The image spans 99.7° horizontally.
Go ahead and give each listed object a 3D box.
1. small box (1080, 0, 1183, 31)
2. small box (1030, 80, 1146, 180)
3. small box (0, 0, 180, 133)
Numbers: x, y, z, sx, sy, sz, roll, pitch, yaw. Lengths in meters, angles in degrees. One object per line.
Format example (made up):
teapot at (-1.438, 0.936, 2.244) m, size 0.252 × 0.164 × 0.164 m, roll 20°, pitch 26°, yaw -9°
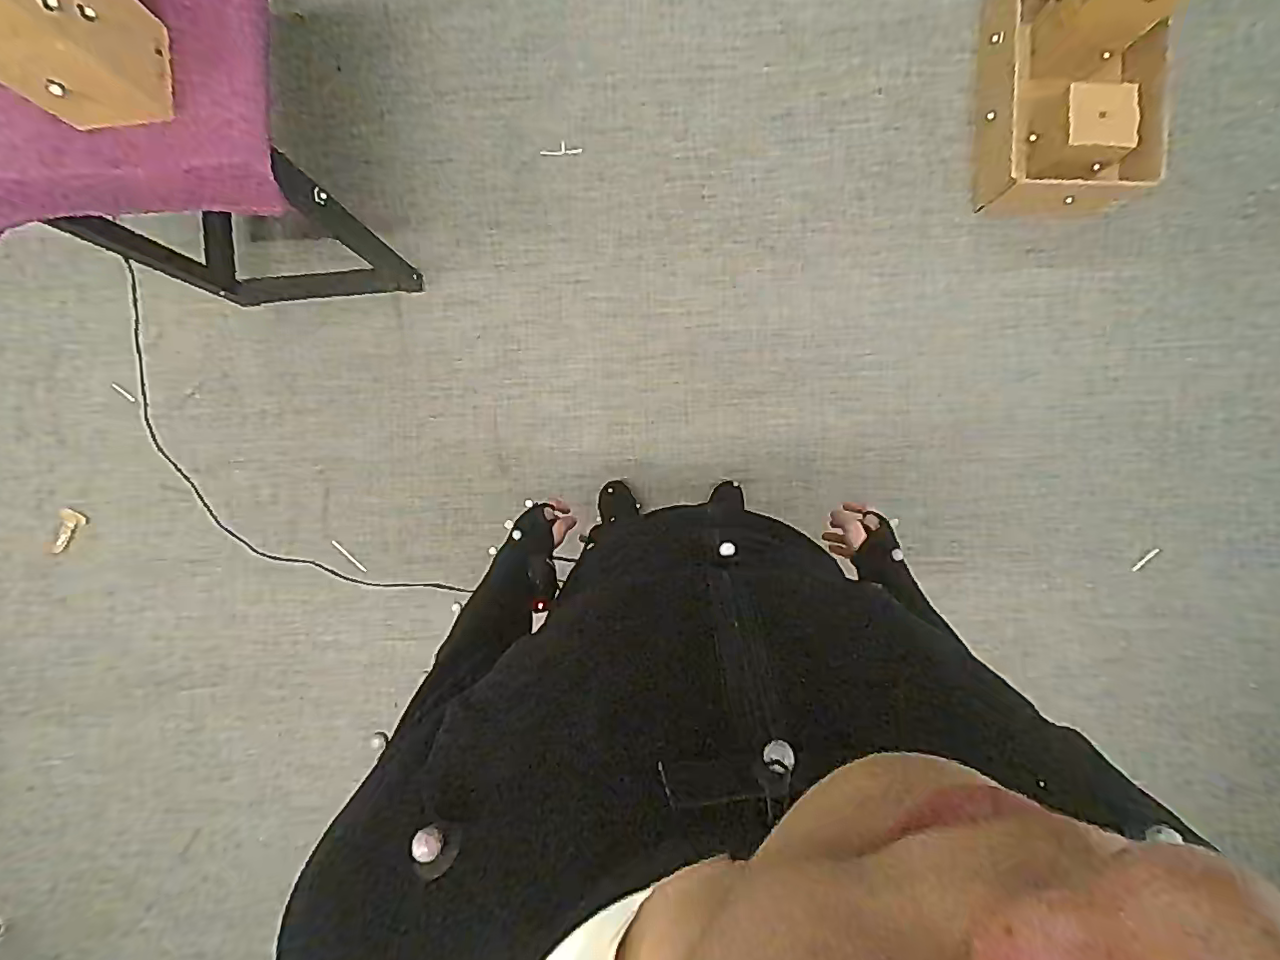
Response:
small box at (1.210, -1.219, 1.291) m, size 0.179 × 0.176 × 0.168 m, roll 2°, pitch 91°, yaw 1°
small box at (1.200, -0.934, 1.455) m, size 0.179 × 0.176 × 0.168 m, roll 2°, pitch 89°, yaw 3°
small box at (-0.894, -0.689, 0.866) m, size 0.179 × 0.176 × 0.168 m, roll -4°, pitch 90°, yaw 3°
